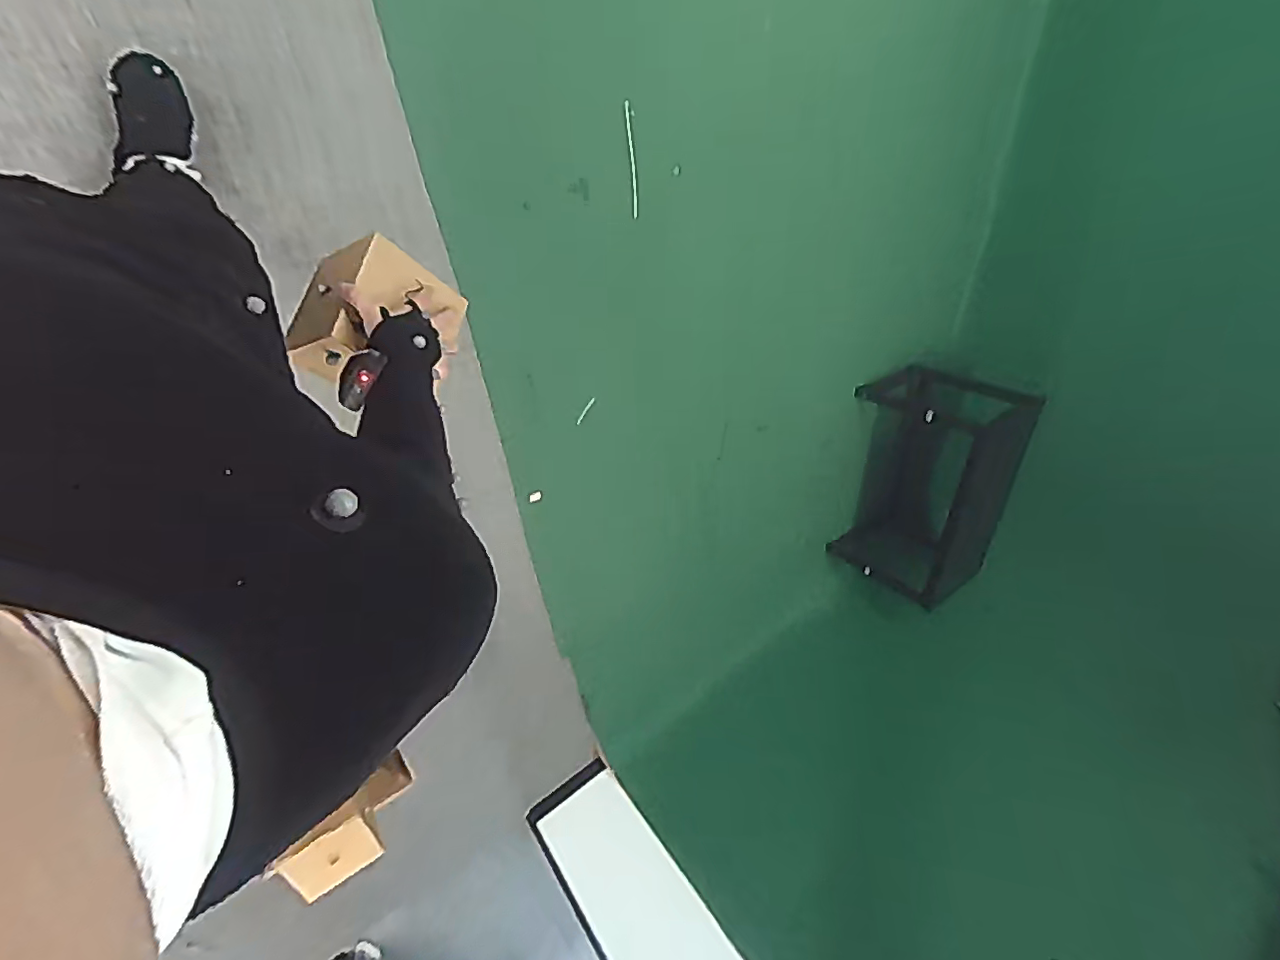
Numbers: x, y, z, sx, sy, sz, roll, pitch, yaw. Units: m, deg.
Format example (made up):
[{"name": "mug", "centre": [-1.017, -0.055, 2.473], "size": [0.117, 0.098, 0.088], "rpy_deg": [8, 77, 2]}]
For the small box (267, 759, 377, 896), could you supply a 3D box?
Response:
[{"name": "small box", "centre": [-0.733, 0.790, 1.243], "size": [0.168, 0.176, 0.179], "rpy_deg": [-25, 127, -28]}]
